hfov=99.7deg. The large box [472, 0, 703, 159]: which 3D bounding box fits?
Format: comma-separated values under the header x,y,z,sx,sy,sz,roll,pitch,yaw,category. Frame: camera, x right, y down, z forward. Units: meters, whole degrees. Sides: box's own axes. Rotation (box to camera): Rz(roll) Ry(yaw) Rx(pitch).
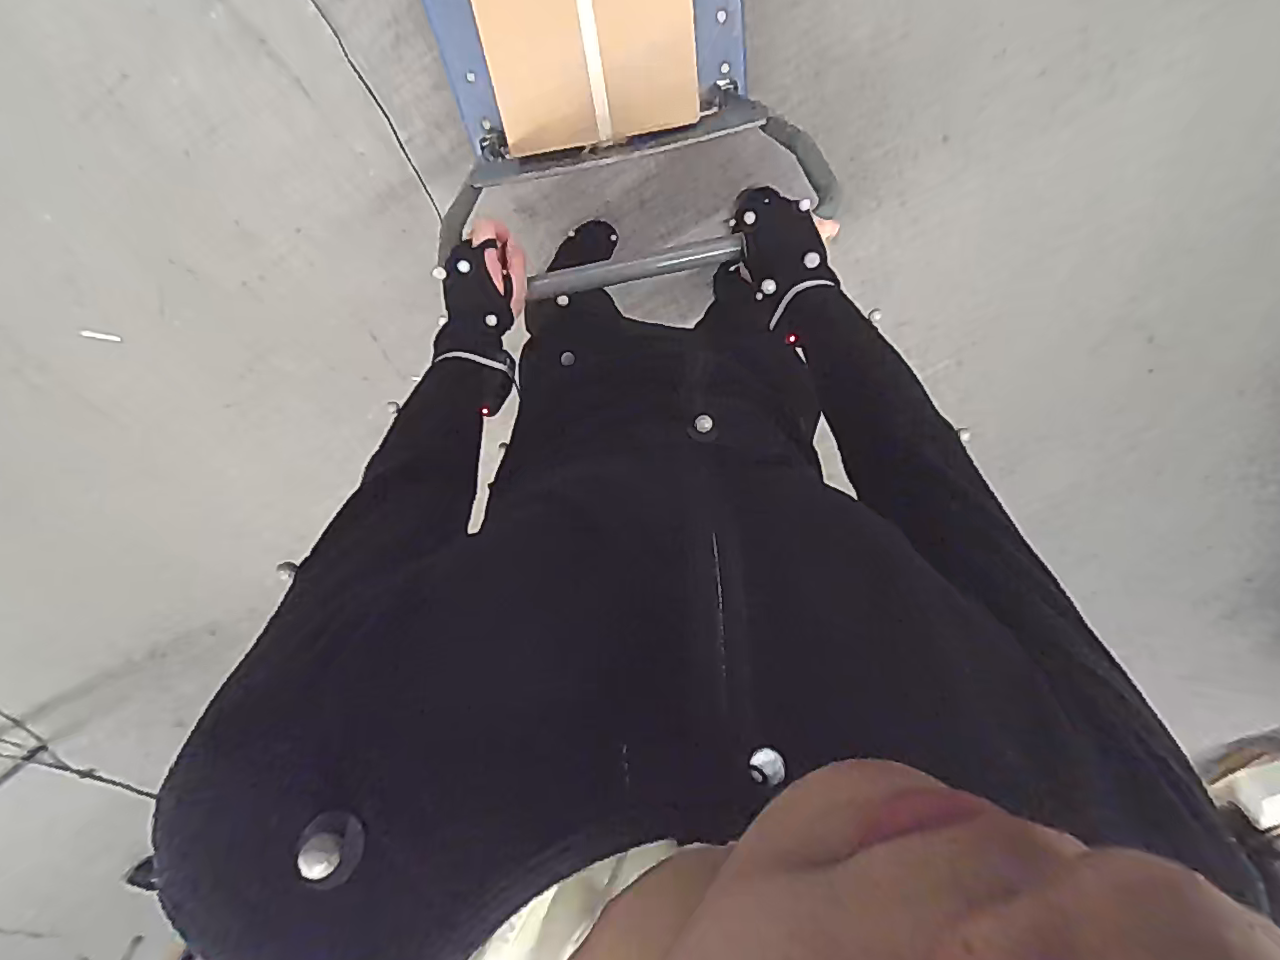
x,y,z,sx,sy,sz,roll,pitch,yaw,category
-0.091,-0.791,0.870,0.320,0.320,0.408,-10,127,3,large box
